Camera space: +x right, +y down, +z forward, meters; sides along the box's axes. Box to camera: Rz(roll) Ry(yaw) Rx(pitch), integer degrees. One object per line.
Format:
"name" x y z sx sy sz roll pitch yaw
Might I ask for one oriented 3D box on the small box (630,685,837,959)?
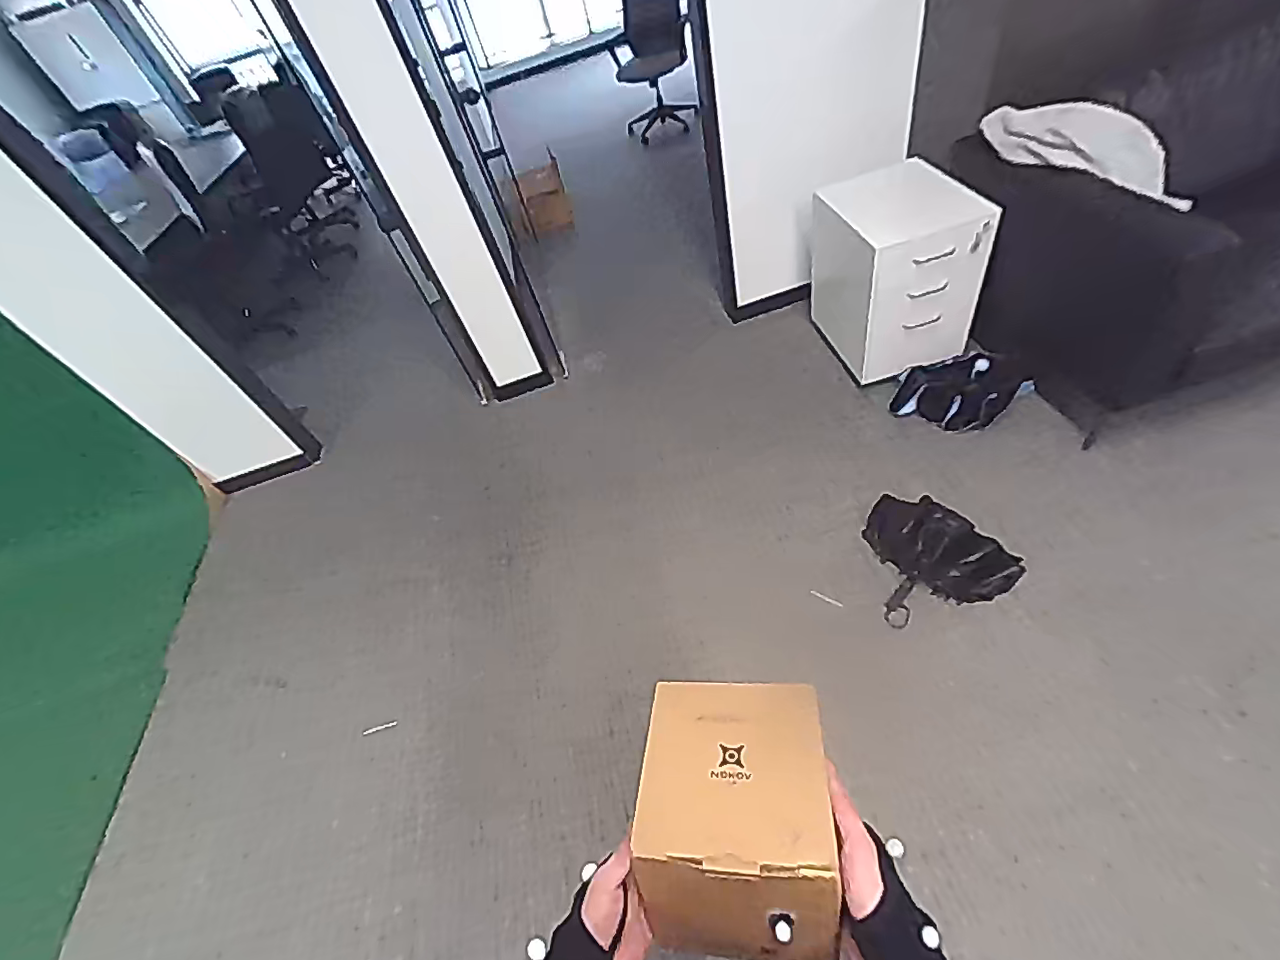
"small box" 0.096 0.329 0.528 0.168 0.176 0.179 -3 27 12
